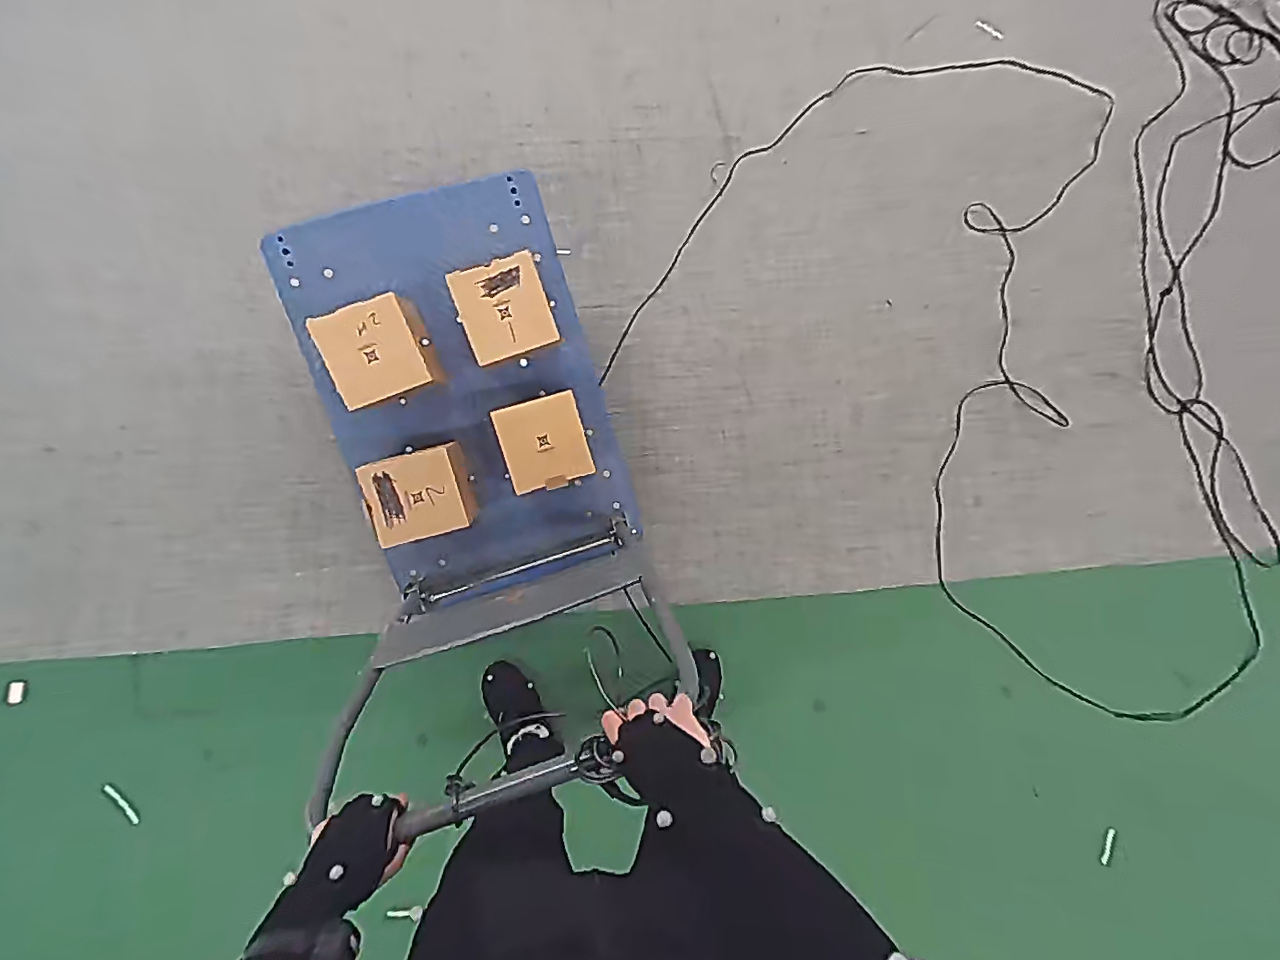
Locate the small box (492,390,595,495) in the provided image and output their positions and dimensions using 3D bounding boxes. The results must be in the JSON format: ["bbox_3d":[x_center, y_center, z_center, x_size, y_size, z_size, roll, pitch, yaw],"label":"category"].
[{"bbox_3d":[-0.203,-0.085,1.149,0.168,0.176,0.179,-17,102,-5],"label":"small box"}]

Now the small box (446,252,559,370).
[{"bbox_3d":[-0.271,-0.334,1.099,0.168,0.176,0.179,-20,101,-4],"label":"small box"}]

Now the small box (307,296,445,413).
[{"bbox_3d":[-0.511,-0.245,1.078,0.168,0.176,0.179,-22,101,-5],"label":"small box"}]
